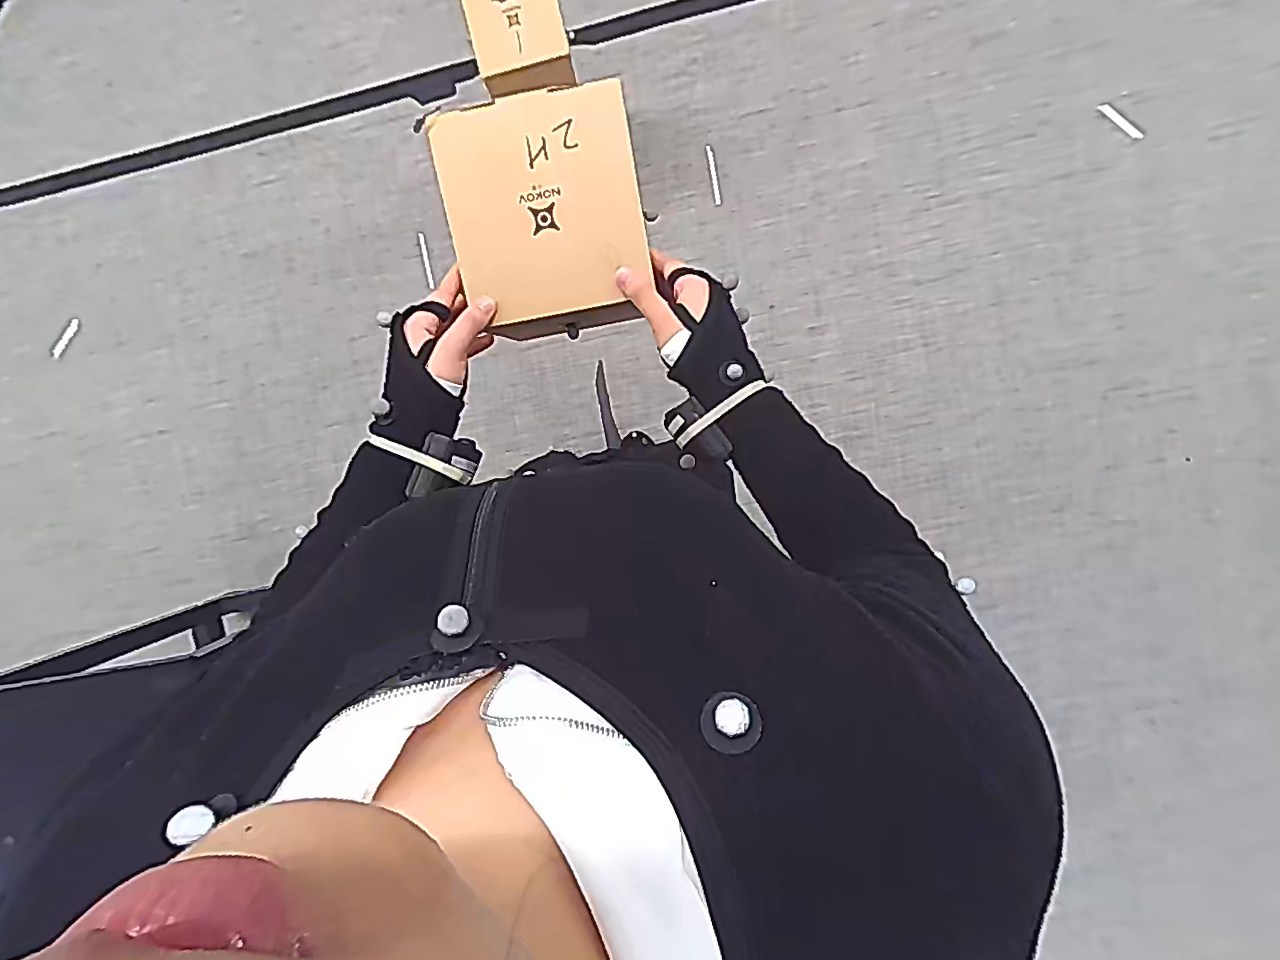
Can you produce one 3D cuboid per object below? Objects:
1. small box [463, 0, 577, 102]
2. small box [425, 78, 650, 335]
[{"bbox_3d":[-0.217,-0.810,1.029,0.168,0.176,0.179,-13,94,4],"label":"small box"},{"bbox_3d":[-0.082,-0.245,0.536,0.168,0.176,0.179,-10,100,2],"label":"small box"}]
